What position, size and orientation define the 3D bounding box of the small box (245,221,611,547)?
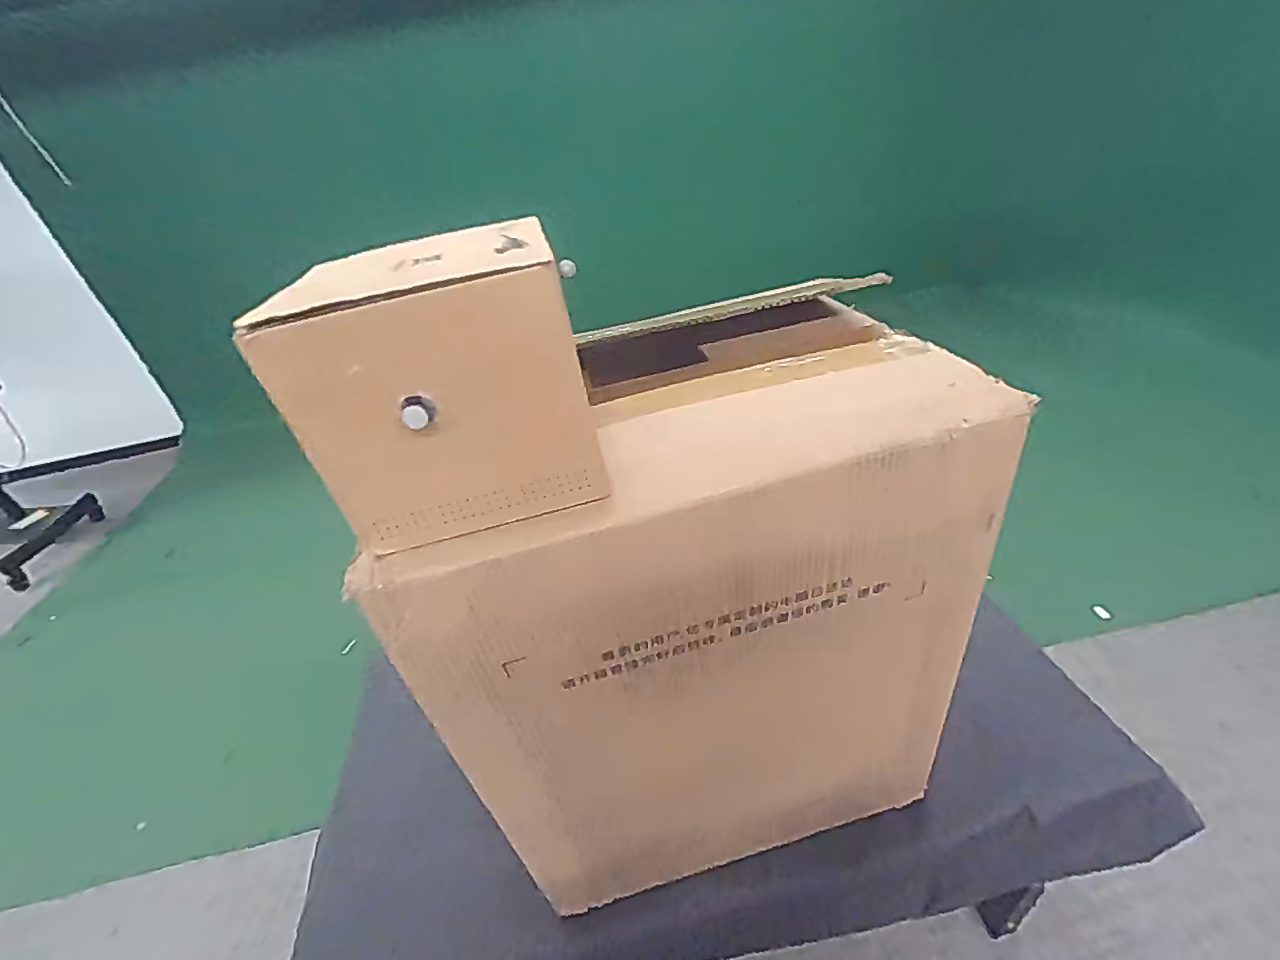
[{"bbox_3d":[-0.134,-0.074,0.409,0.179,0.176,0.168,-16,36,-4],"label":"small box"}]
